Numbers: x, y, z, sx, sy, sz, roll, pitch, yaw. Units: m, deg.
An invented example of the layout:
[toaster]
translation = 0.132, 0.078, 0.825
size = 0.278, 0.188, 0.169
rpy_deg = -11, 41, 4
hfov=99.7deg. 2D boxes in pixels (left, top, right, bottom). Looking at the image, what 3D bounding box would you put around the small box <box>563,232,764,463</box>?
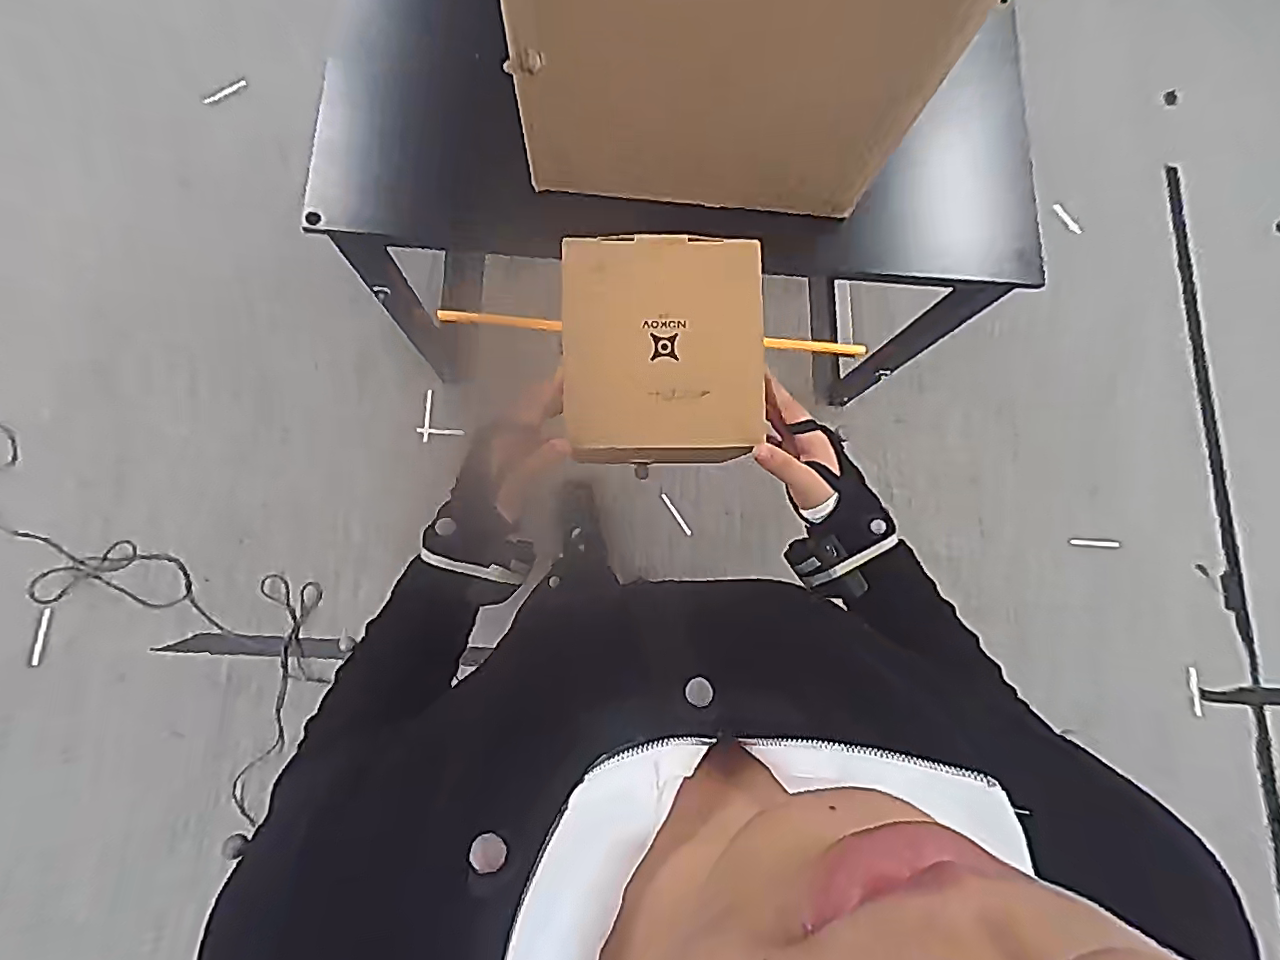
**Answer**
[small box]
translation = 0.015, -0.112, 0.519
size = 0.168, 0.176, 0.179
rpy_deg = -1, 87, -2
